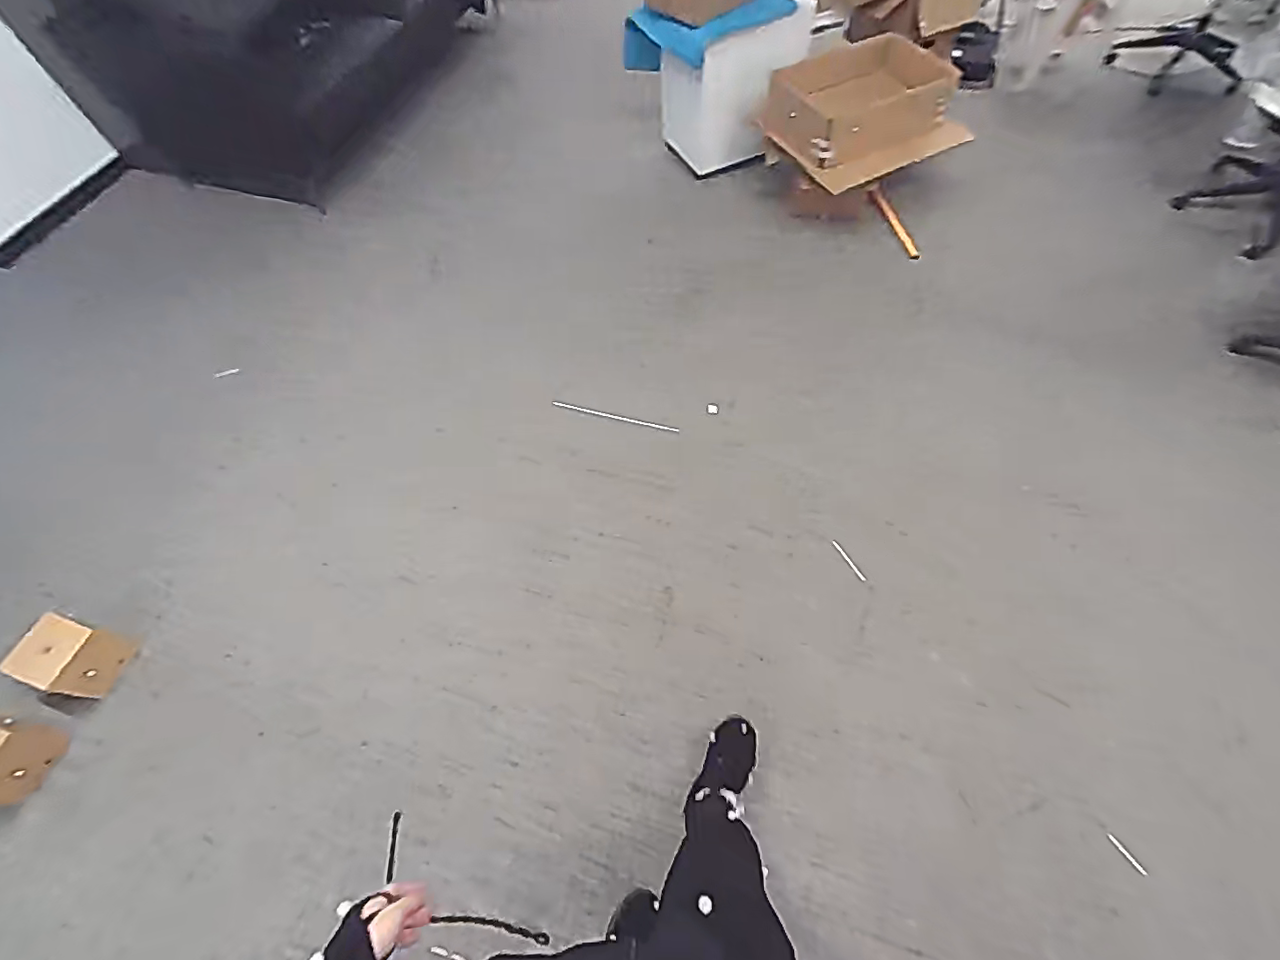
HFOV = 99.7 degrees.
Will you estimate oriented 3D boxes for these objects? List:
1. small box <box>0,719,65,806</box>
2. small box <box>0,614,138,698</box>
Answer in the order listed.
[{"bbox_3d":[-1.664,0.720,1.384,0.179,0.176,0.168,15,61,11],"label":"small box"},{"bbox_3d":[-1.584,0.498,1.511,0.179,0.176,0.168,15,62,12],"label":"small box"}]
